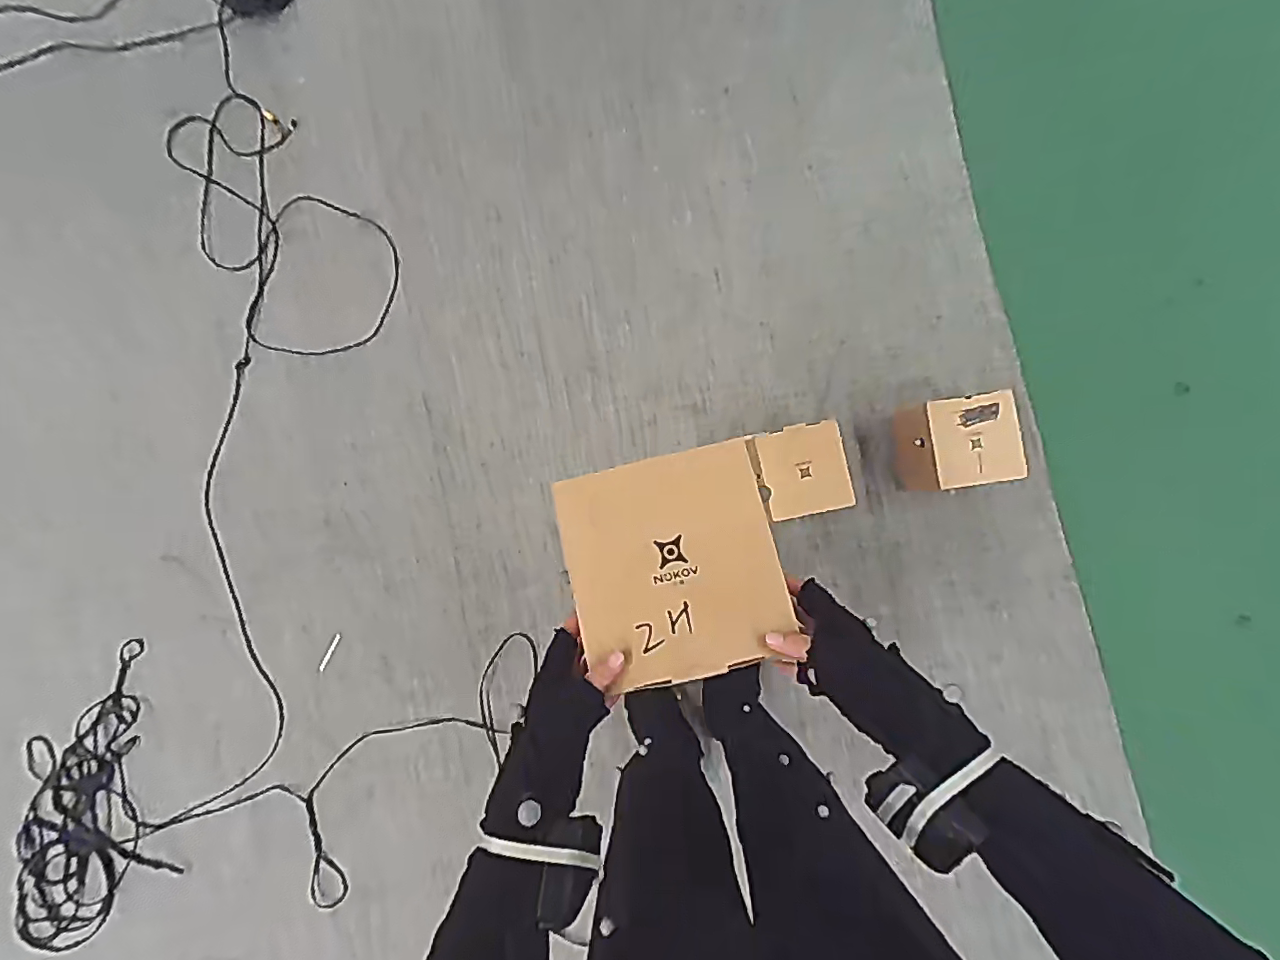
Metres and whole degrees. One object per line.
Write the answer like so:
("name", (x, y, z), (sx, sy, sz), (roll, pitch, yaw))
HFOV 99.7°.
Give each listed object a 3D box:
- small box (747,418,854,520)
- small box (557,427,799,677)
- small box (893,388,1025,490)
("small box", (0.326, -0.017, 1.136), (0.168, 0.176, 0.179), (-12, 85, 3))
("small box", (0.031, 0.071, 0.514), (0.168, 0.176, 0.179), (-14, 78, 1))
("small box", (0.646, -0.077, 1.117), (0.168, 0.176, 0.179), (-9, 87, 4))
